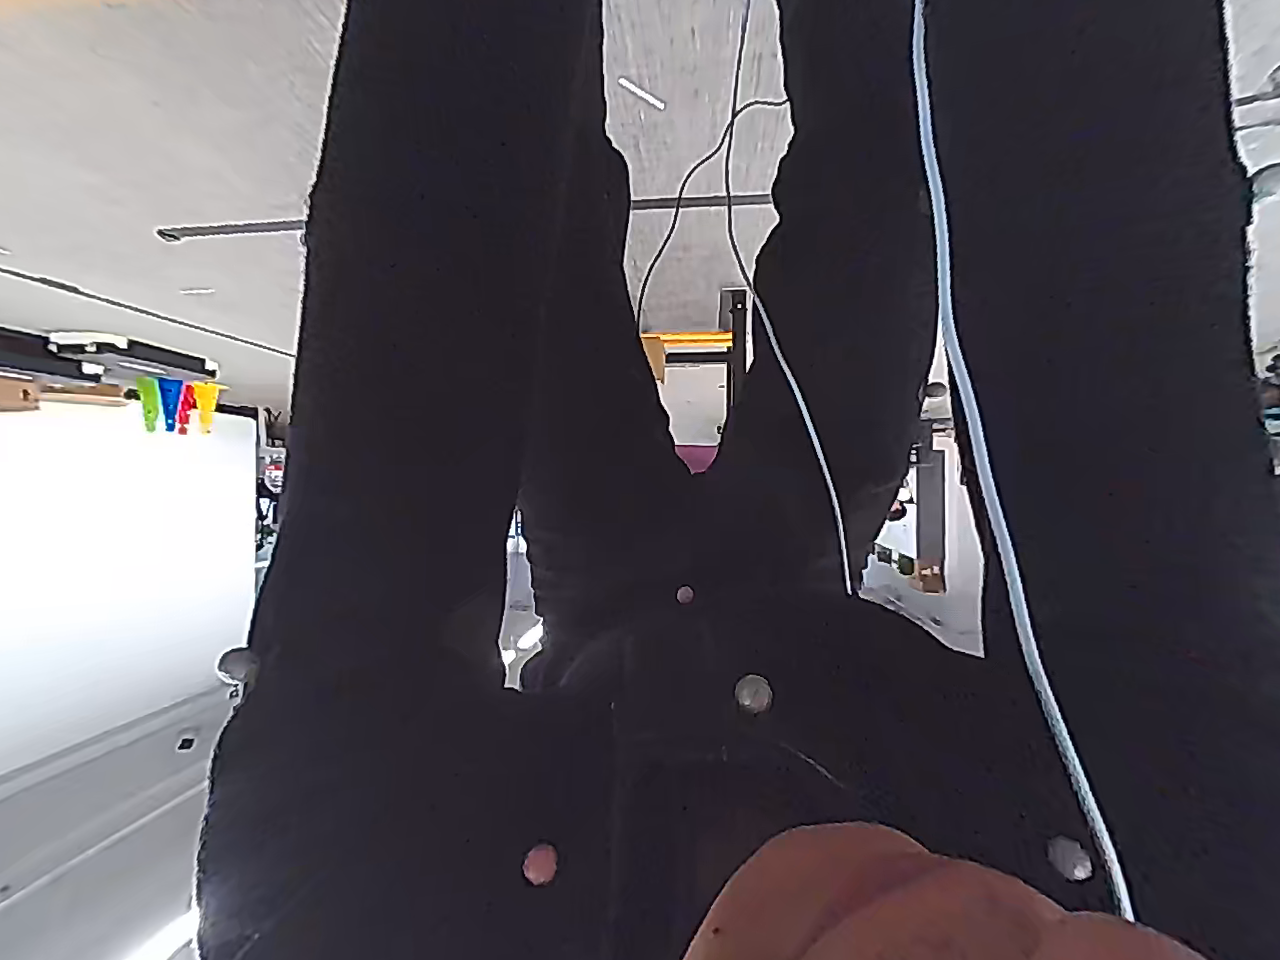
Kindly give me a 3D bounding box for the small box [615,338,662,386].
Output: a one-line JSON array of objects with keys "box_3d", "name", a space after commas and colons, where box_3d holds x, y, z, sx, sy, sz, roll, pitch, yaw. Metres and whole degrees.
[{"box_3d": [-0.004, -0.484, 2.231, 0.179, 0.176, 0.168, 2, -179, 9], "name": "small box"}]
